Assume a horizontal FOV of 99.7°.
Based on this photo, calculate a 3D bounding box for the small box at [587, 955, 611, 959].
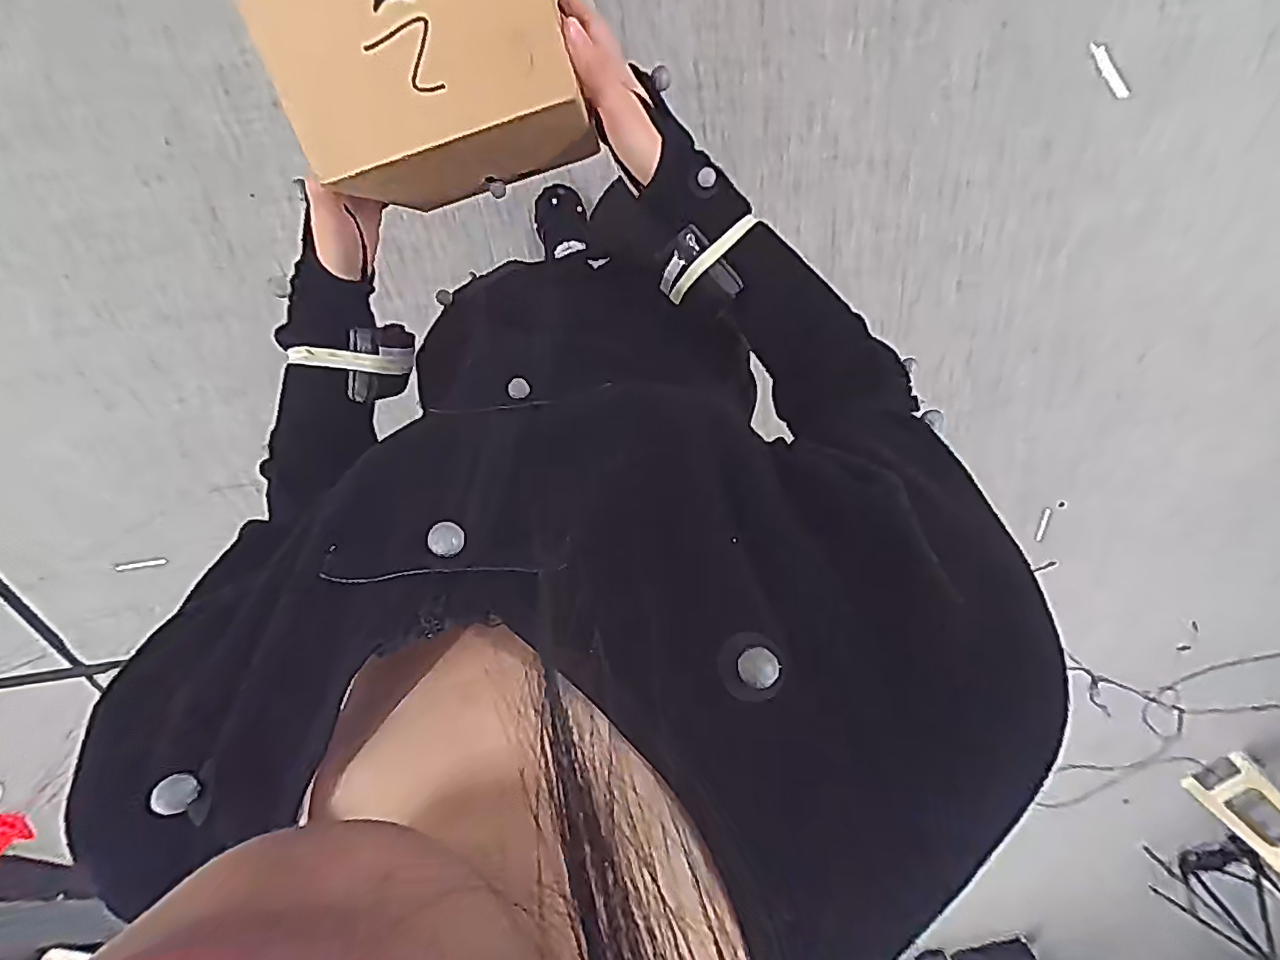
[{"bbox_3d":[-0.165,1.579,1.630,0.179,0.176,0.168,-8,123,-3],"label":"small box"}]

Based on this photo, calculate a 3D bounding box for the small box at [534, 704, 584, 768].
[{"bbox_3d":[-0.319,0.997,2.117,0.179,0.176,0.168,5,120,-11],"label":"small box"}]
